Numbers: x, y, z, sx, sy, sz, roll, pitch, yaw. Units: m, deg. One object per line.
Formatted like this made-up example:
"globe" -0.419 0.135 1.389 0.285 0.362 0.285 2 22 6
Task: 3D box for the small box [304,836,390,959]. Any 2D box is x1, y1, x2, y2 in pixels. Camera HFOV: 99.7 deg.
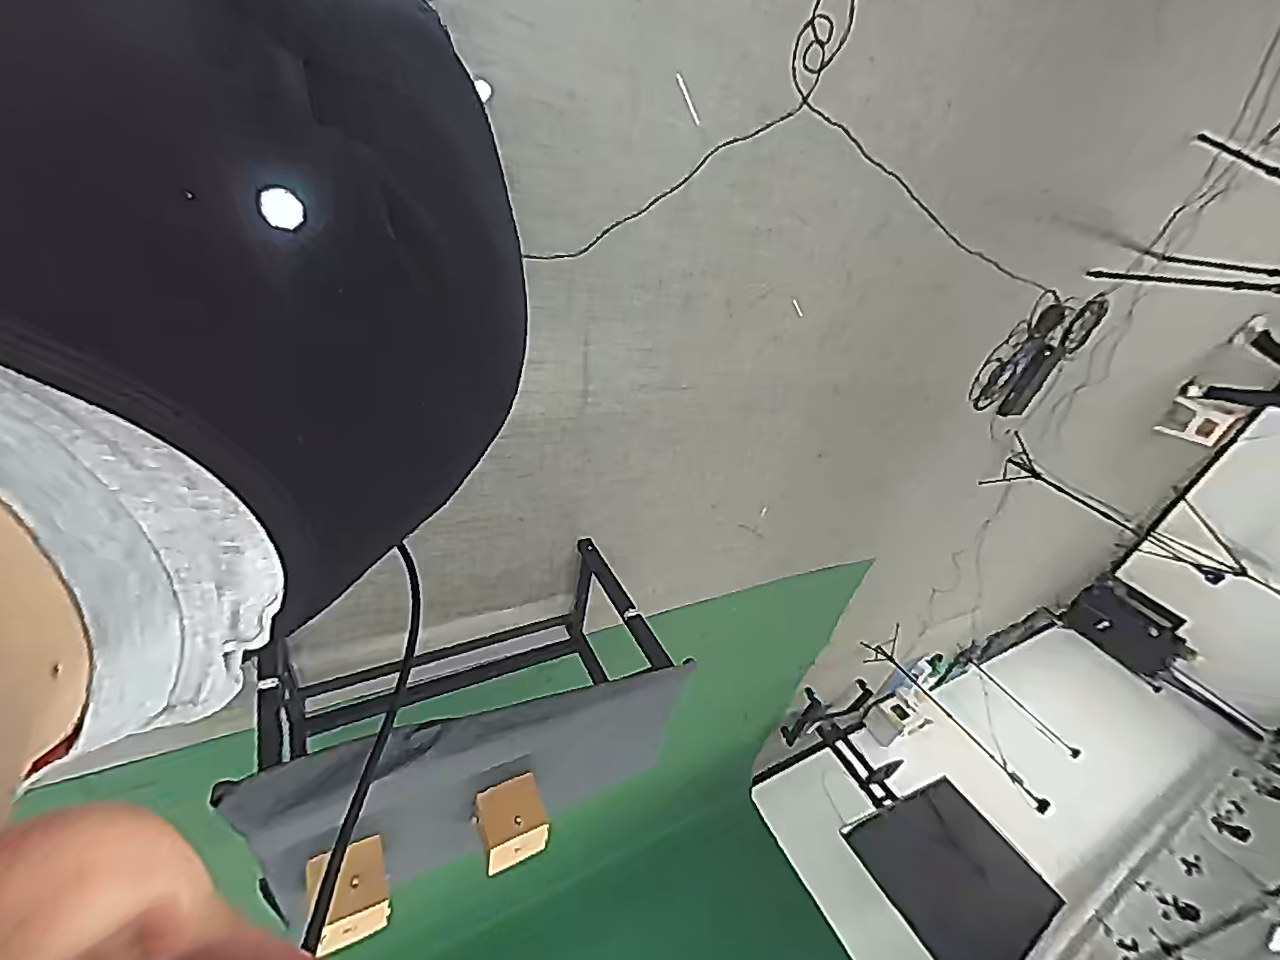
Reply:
"small box" -0.765 1.076 1.409 0.179 0.176 0.168 -4 125 -34

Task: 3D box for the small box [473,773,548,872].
"small box" -0.397 1.027 1.636 0.179 0.176 0.168 -8 127 -29
